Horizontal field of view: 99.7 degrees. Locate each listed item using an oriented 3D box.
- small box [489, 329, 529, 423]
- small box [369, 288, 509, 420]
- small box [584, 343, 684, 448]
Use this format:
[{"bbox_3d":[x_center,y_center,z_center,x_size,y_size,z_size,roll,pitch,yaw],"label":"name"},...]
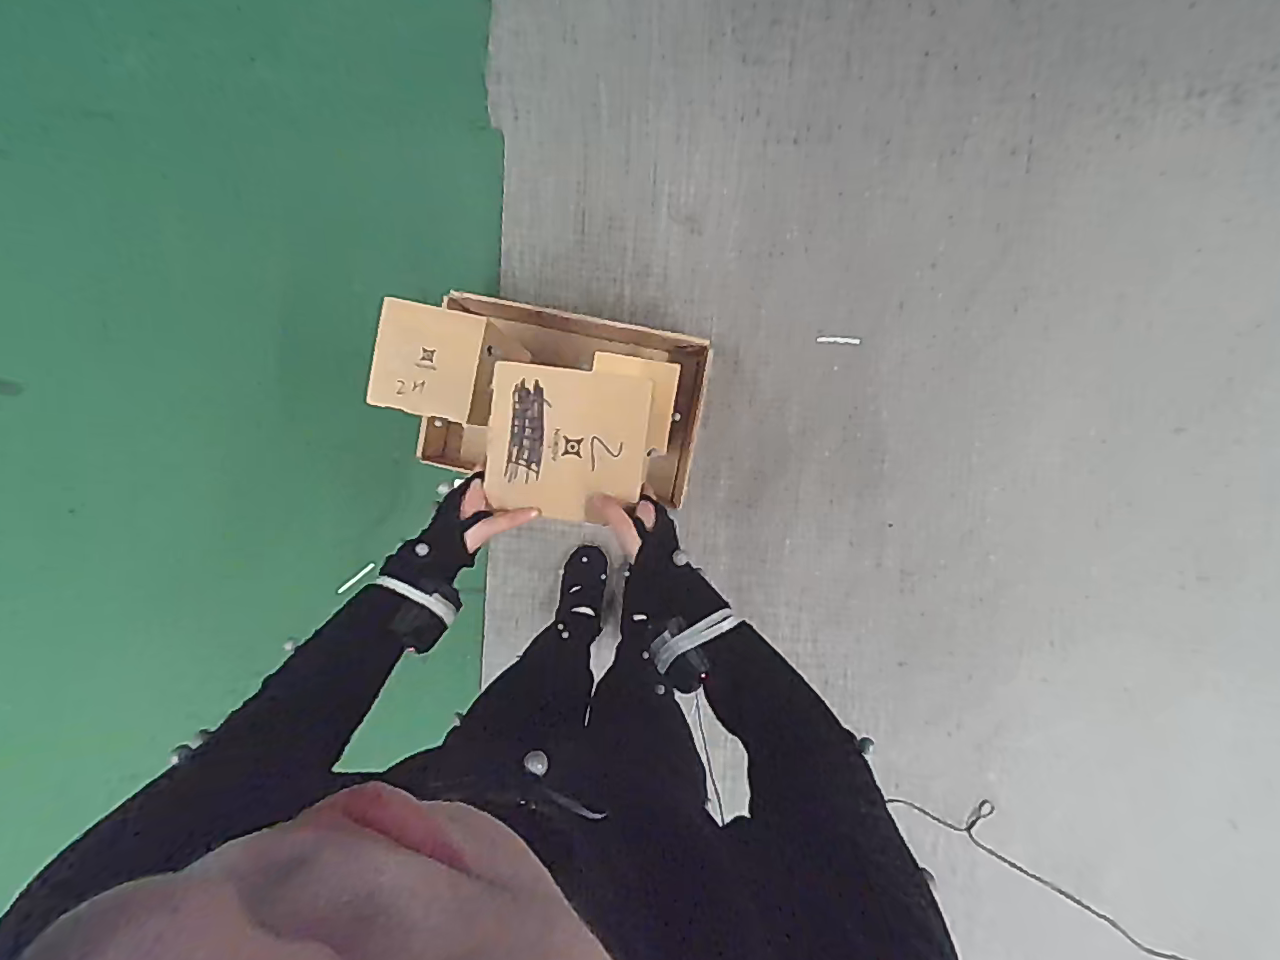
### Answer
[{"bbox_3d":[-0.333,-0.221,1.100,0.168,0.176,0.179,14,95,-2],"label":"small box"},{"bbox_3d":[-0.335,-0.207,0.936,0.168,0.176,0.179,12,95,-2],"label":"small box"},{"bbox_3d":[-0.012,-0.165,1.103,0.168,0.176,0.179,10,95,0],"label":"small box"}]
